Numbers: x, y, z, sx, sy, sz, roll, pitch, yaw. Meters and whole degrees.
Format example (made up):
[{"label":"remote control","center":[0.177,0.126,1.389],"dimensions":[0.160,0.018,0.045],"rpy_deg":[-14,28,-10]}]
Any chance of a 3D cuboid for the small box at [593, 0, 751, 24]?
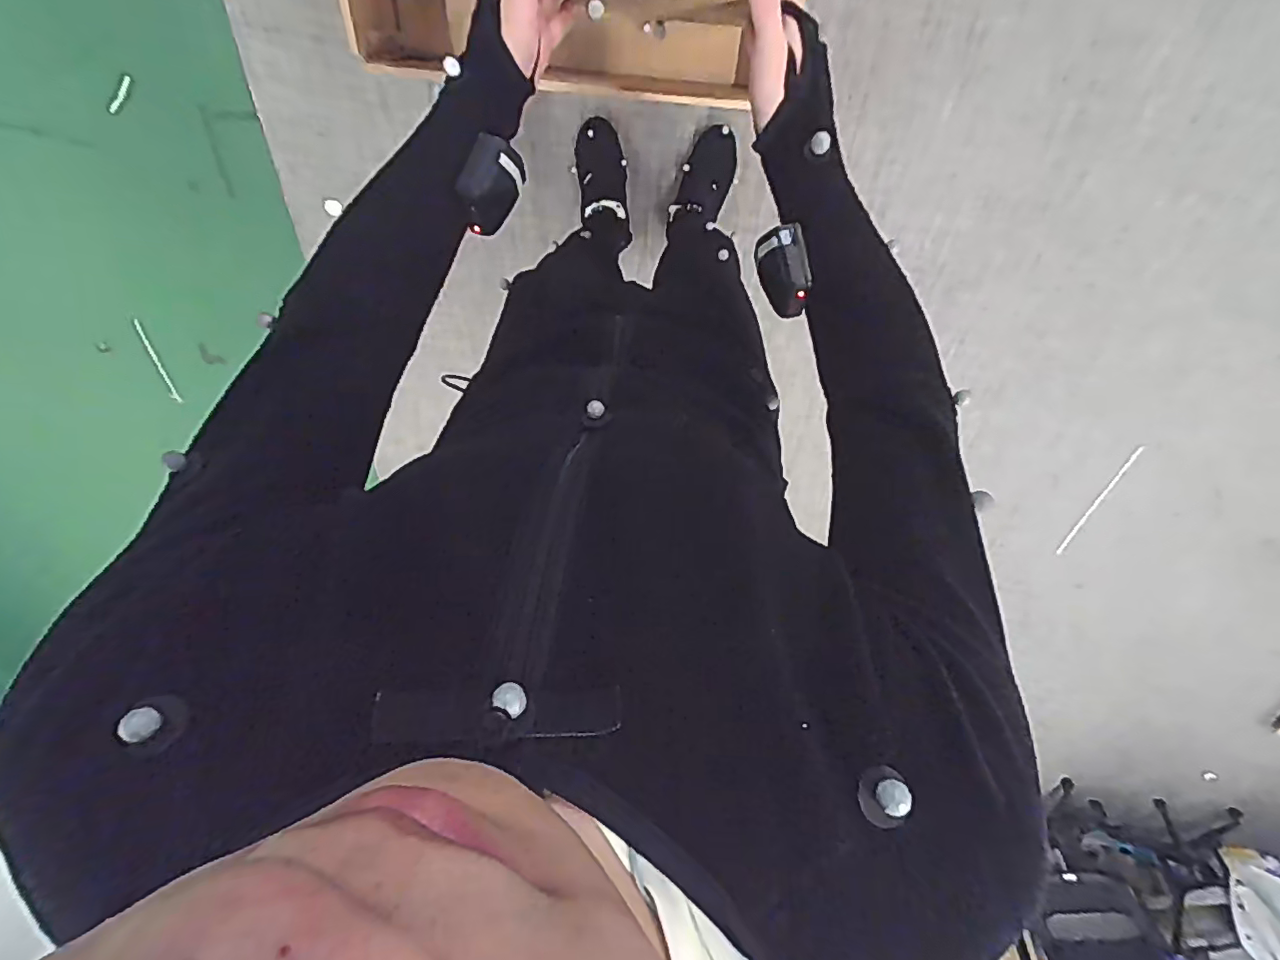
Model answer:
[{"label":"small box","center":[0.043,-0.595,0.559],"dimensions":[0.168,0.176,0.179],"rpy_deg":[6,130,2]}]
